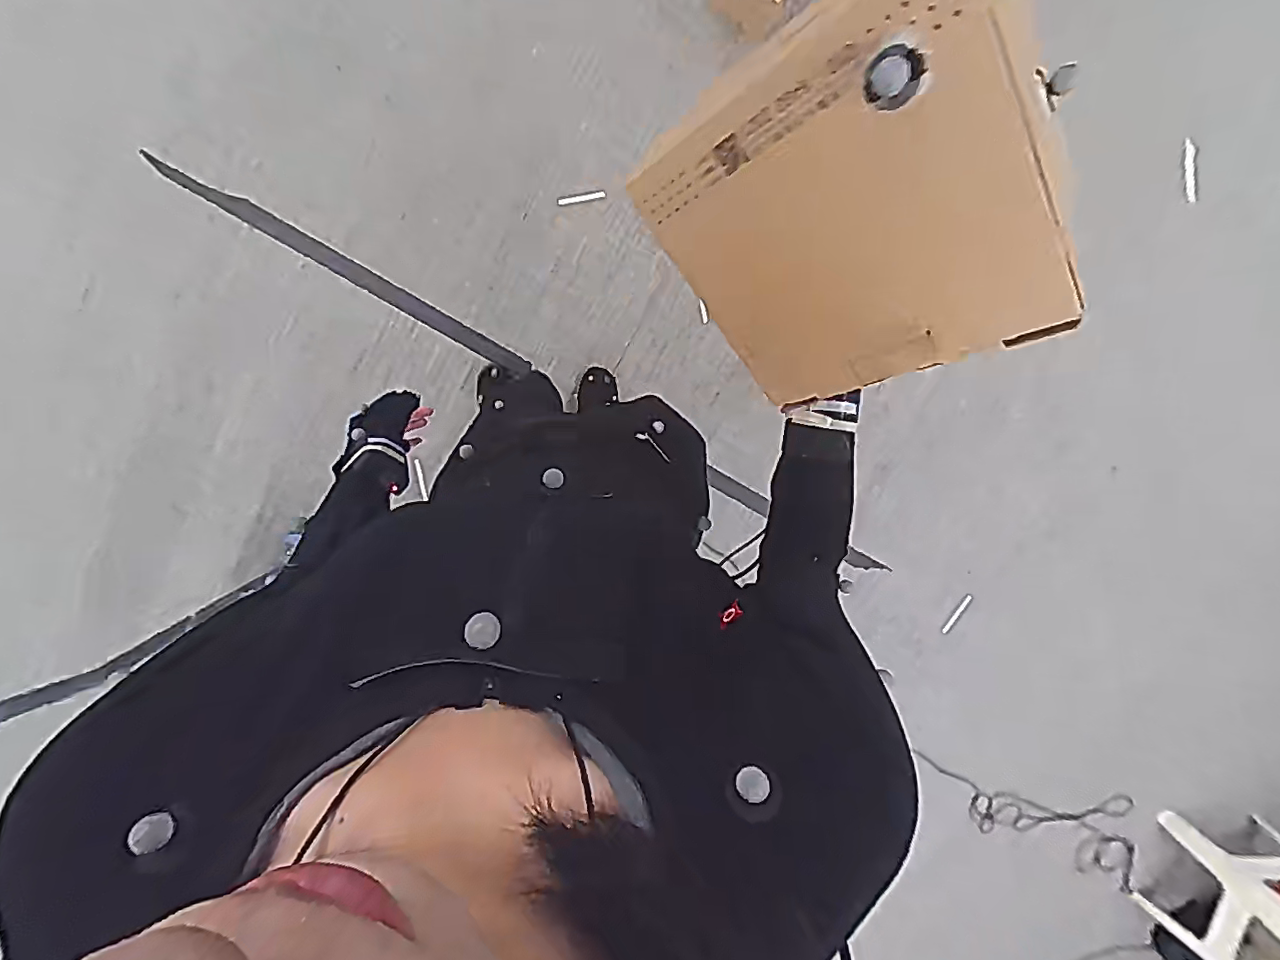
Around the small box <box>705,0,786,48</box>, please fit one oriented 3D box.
[{"bbox_3d":[0.263,-1.137,1.207,0.168,0.176,0.179,32,99,-10],"label":"small box"}]

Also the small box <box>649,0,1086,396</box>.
[{"bbox_3d":[0.133,-0.184,0.315,0.176,0.168,0.179,49,51,-27],"label":"small box"}]
